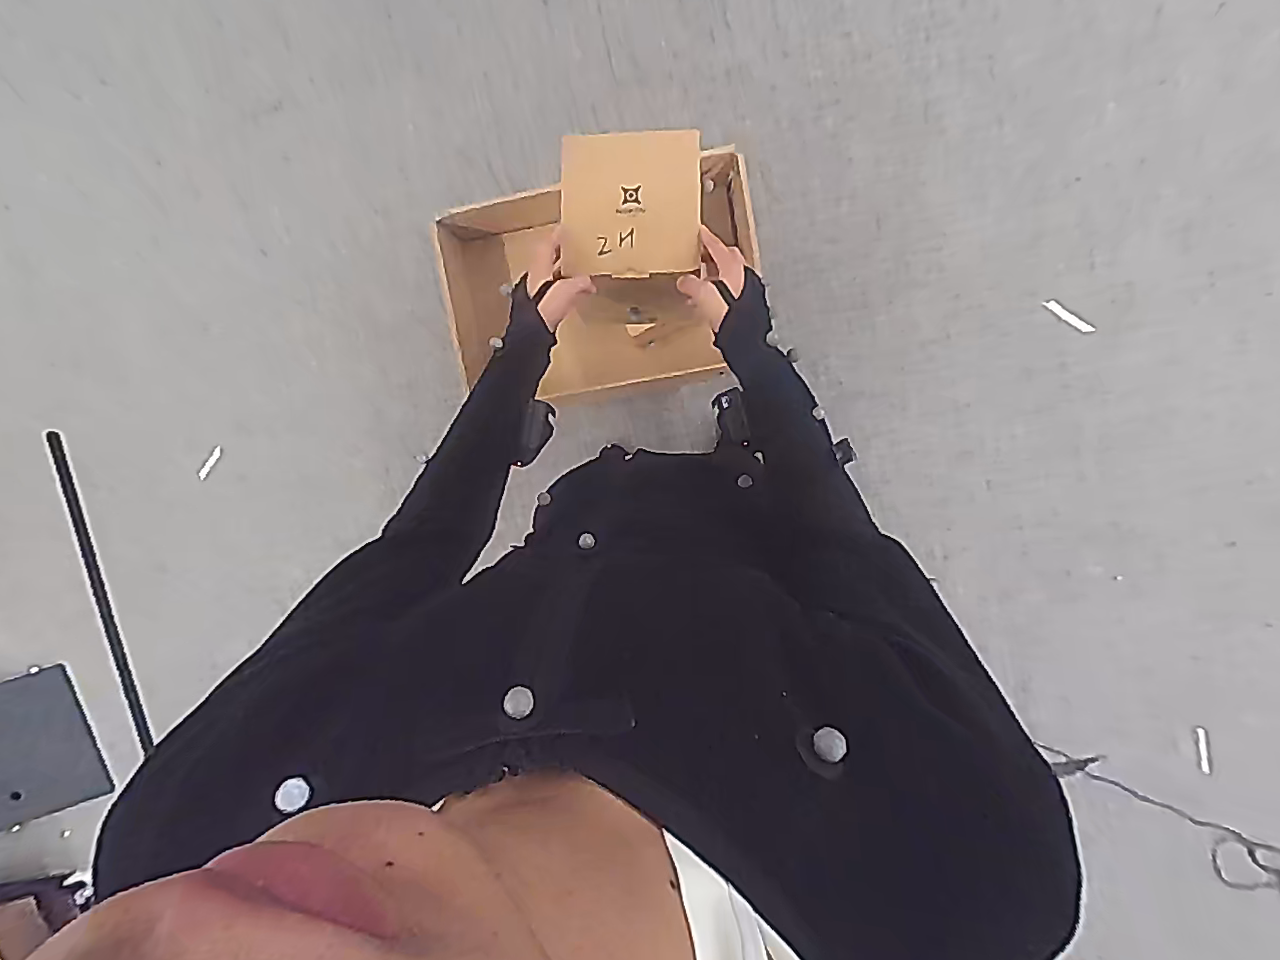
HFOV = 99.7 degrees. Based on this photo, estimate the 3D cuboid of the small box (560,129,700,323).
[{"bbox_3d":[-0.007,-0.321,0.711,0.168,0.176,0.179,0,88,4],"label":"small box"}]
